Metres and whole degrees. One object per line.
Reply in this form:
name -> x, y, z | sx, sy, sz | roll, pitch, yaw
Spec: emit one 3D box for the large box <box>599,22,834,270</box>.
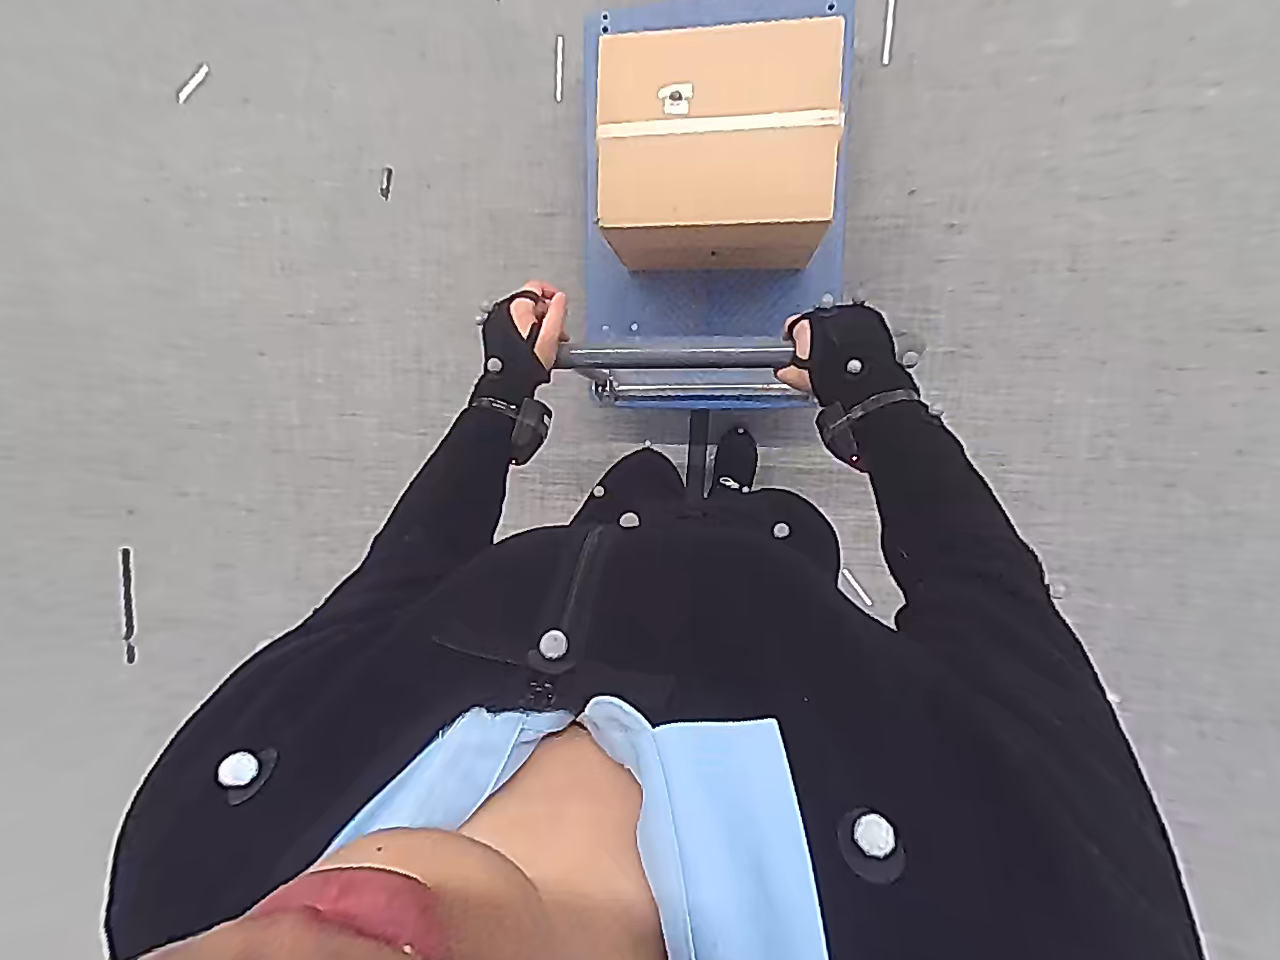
large box -> 0.150, -0.620, 1.078 | 0.408, 0.320, 0.320 | 2, 97, 9
